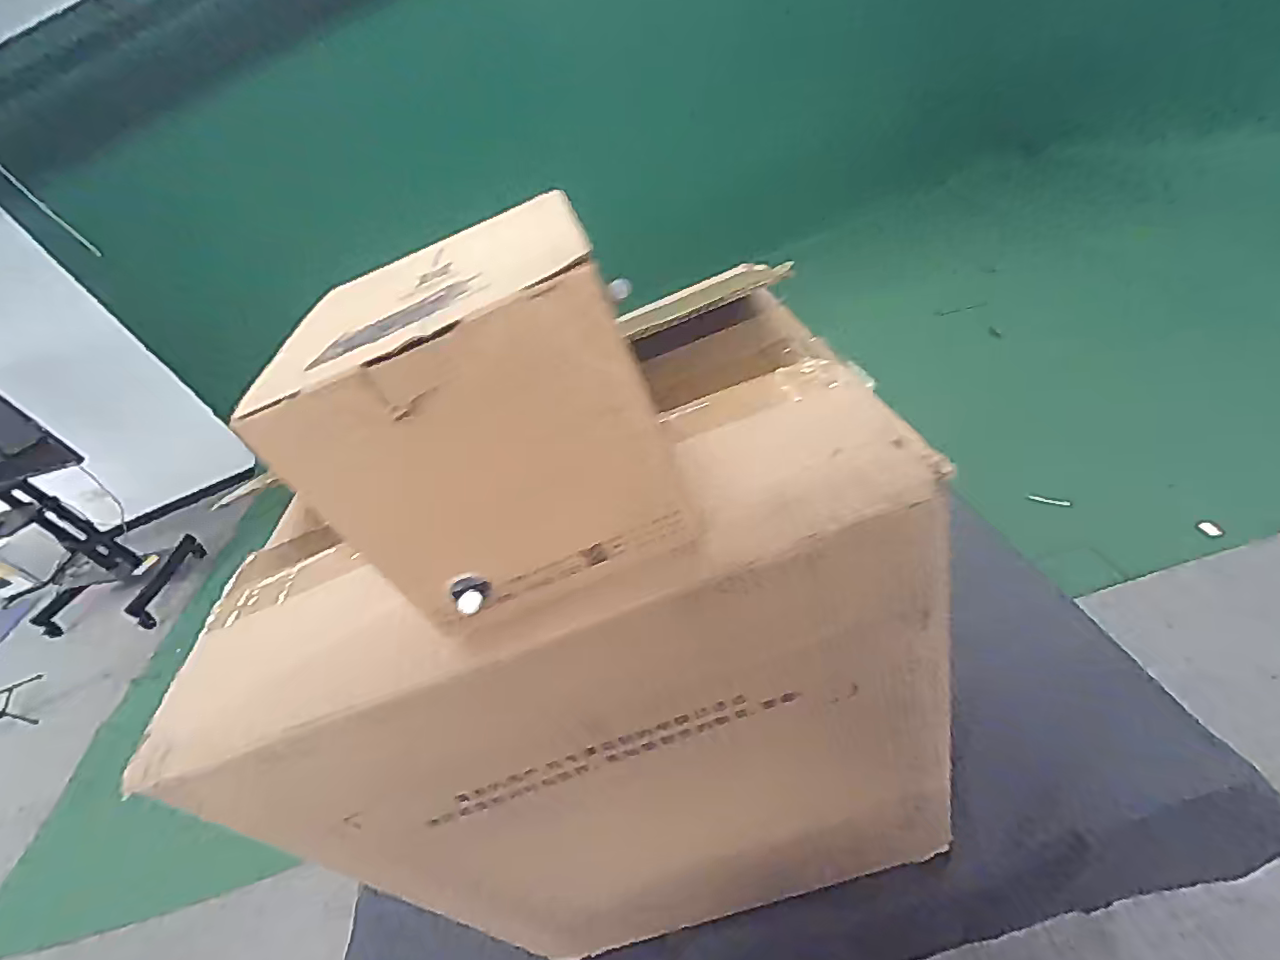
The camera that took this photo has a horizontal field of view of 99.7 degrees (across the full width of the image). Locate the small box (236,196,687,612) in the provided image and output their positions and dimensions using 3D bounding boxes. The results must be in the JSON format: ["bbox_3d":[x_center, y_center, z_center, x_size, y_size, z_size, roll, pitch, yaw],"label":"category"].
[{"bbox_3d":[-0.084,-0.042,0.335,0.168,0.176,0.179,-22,37,4],"label":"small box"}]
